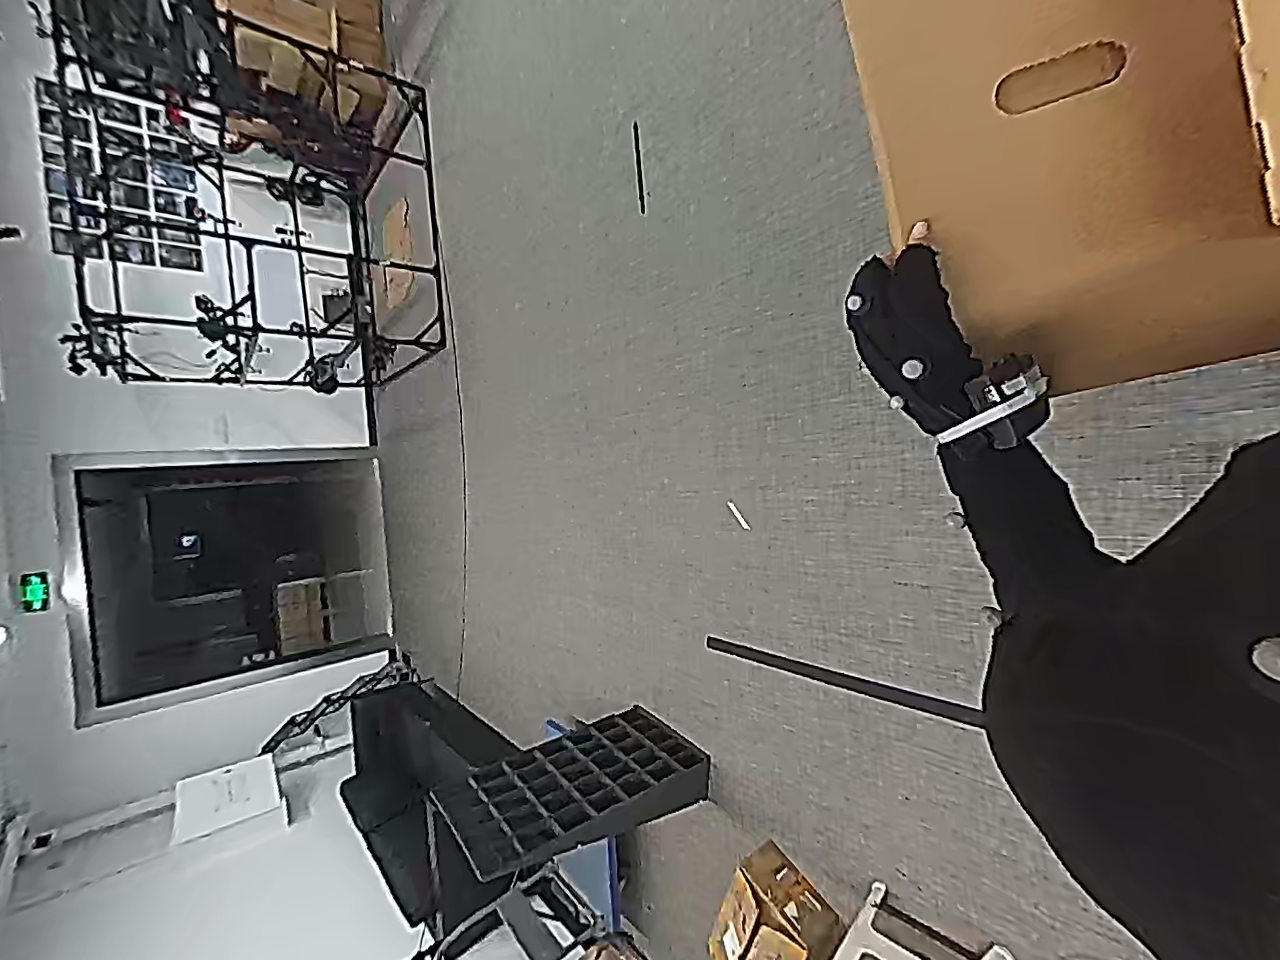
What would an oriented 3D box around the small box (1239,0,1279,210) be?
[{"bbox_3d":[0.464,-0.258,0.275,0.179,0.176,0.168,-8,94,63],"label":"small box"}]
